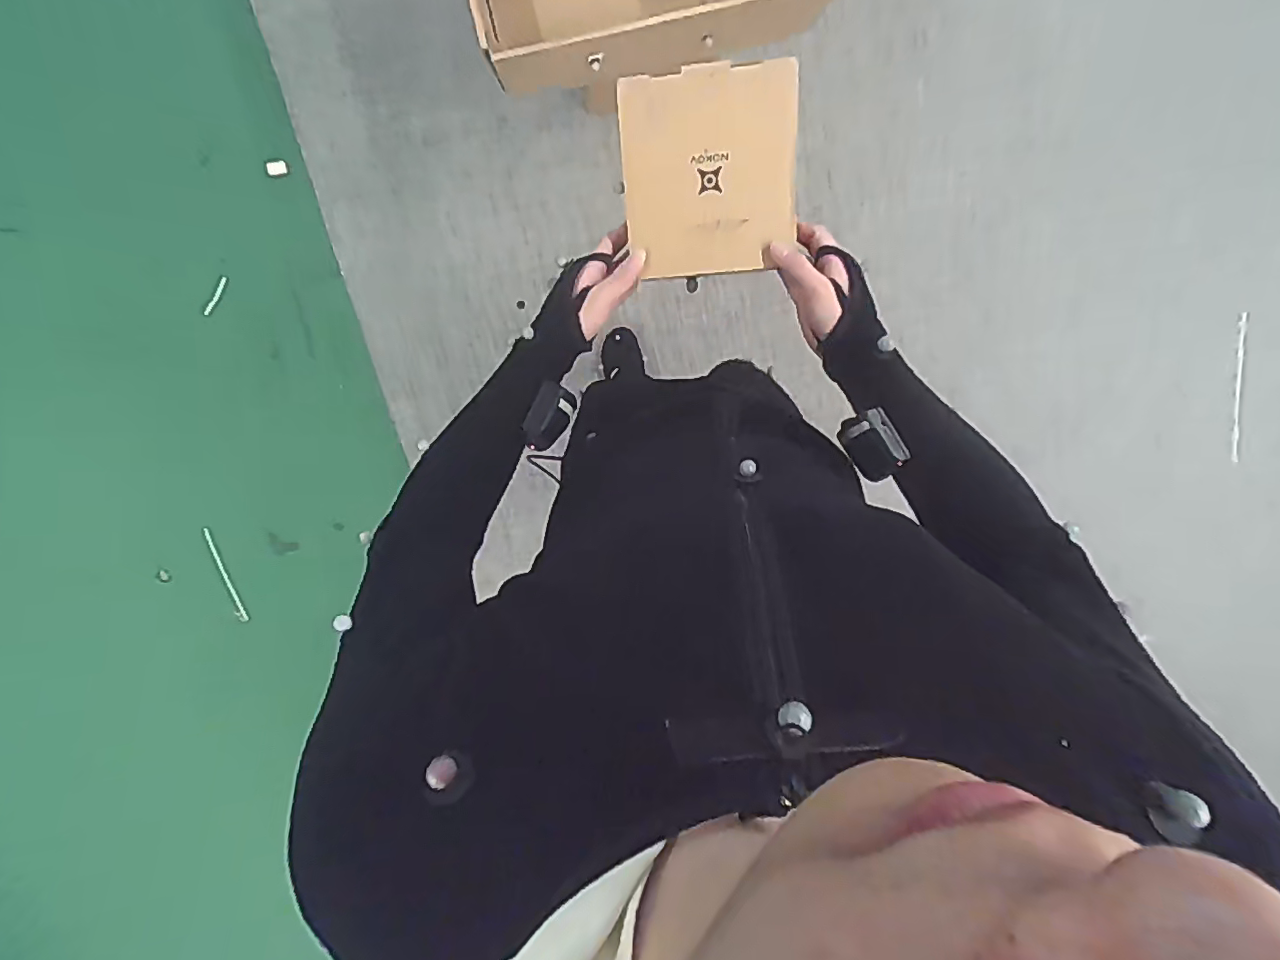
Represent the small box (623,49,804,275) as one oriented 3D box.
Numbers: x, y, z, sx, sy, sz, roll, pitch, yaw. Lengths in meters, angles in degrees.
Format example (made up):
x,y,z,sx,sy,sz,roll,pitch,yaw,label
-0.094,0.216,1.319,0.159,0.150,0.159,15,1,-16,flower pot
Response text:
x,y,z,sx,sy,sz,roll,pitch,yaw,label
0.073,-0.321,0.583,0.168,0.176,0.179,-2,109,5,small box
